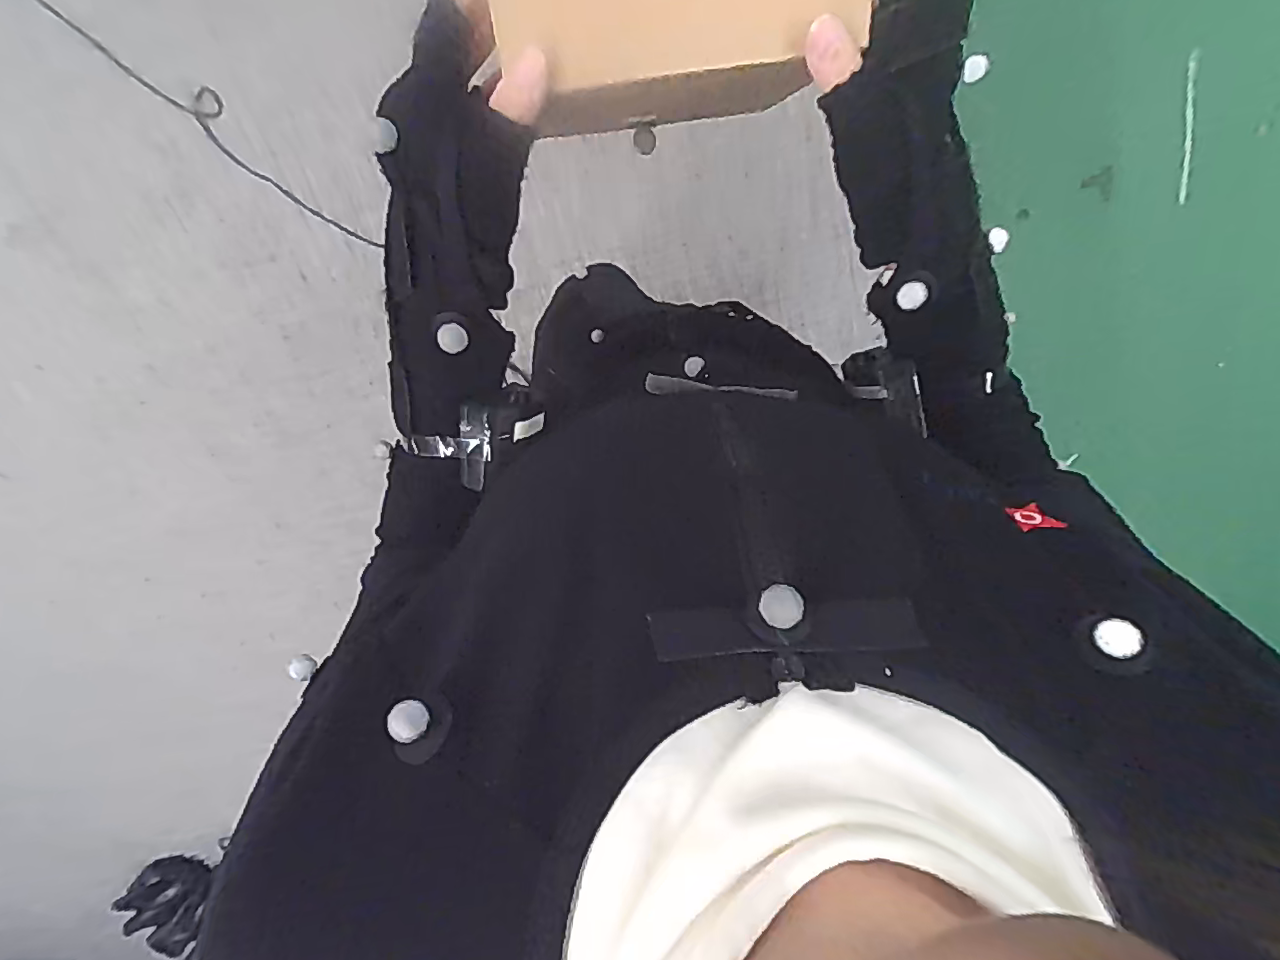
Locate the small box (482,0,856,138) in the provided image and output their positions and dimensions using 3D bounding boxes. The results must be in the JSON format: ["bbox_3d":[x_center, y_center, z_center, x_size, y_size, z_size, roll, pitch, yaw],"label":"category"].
[{"bbox_3d":[0.001,-0.298,0.279,0.168,0.176,0.179,-8,116,0],"label":"small box"}]
